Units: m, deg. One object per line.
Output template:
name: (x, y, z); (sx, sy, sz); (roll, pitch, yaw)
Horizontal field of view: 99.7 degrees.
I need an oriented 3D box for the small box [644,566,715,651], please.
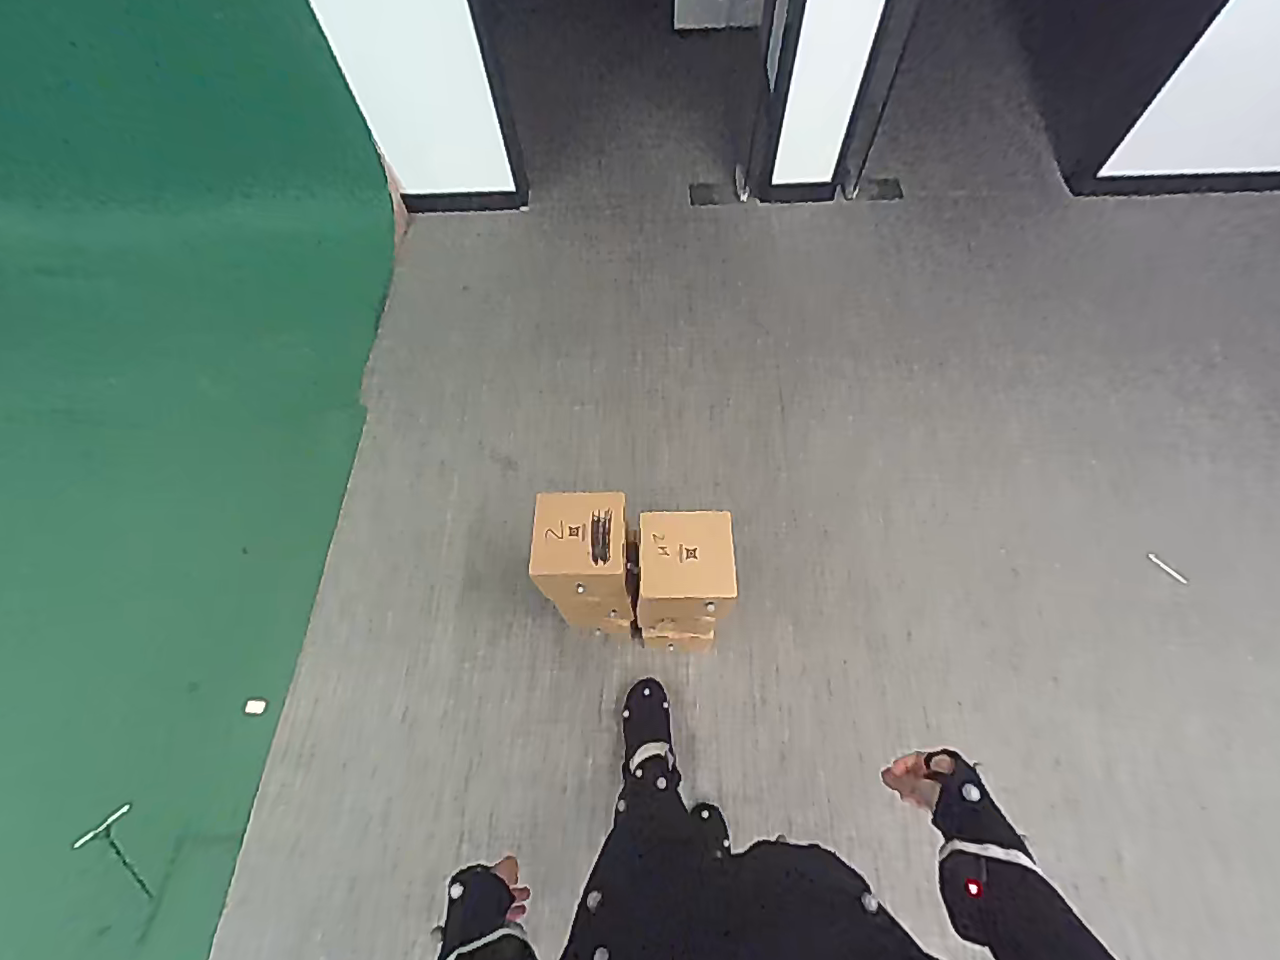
small box: (0.096, 0.324, 1.352); (0.168, 0.176, 0.179); (0, 65, 3)
